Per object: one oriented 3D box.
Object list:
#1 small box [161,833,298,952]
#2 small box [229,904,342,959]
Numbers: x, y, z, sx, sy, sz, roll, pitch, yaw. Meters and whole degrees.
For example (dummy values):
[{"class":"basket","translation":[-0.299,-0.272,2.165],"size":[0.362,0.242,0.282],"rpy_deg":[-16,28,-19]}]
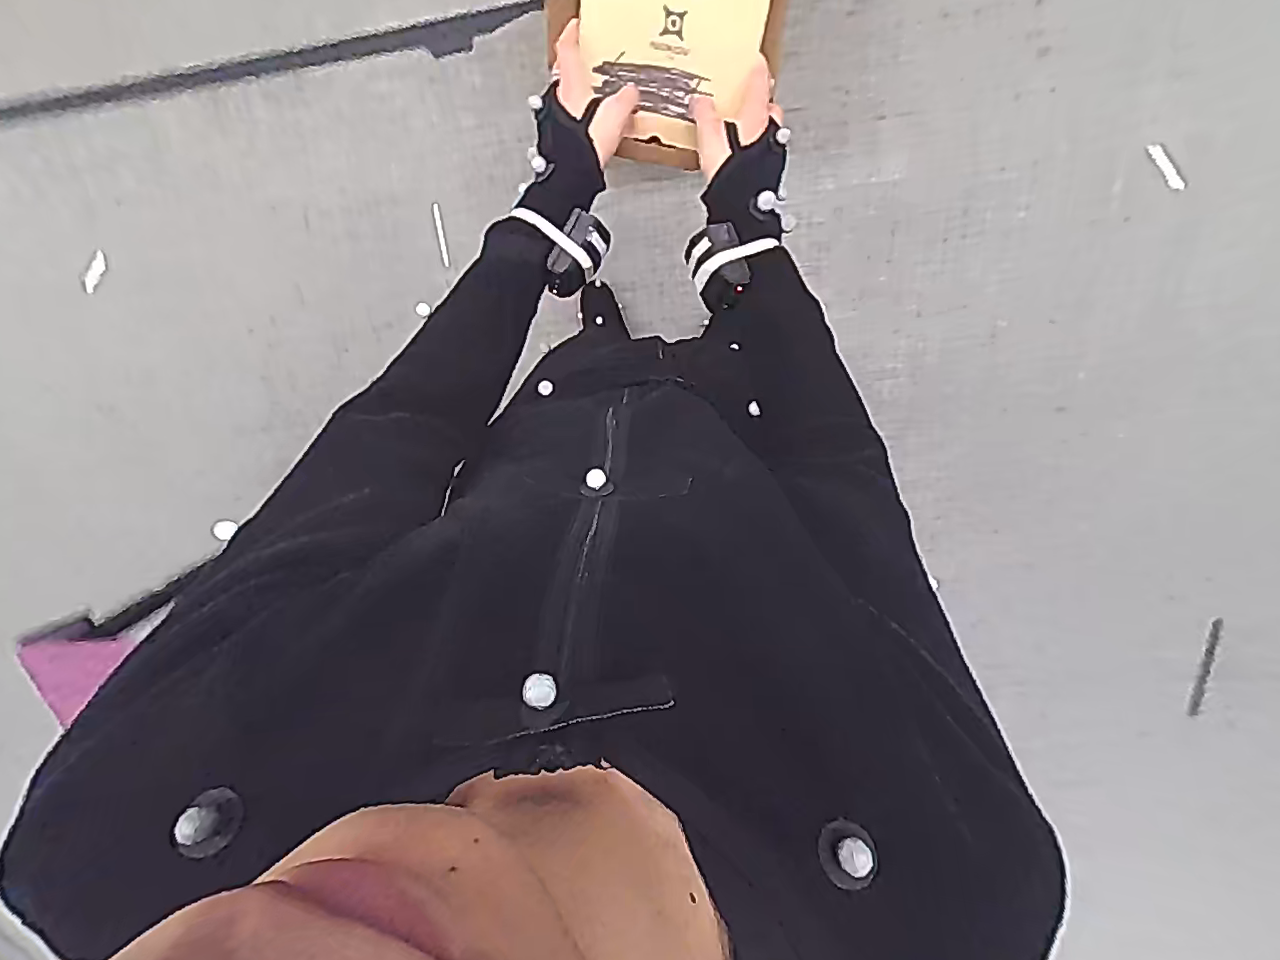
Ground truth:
[{"class":"small box","translation":[-0.953,0.968,1.280],"size":[0.179,0.176,0.168],"rpy_deg":[-6,110,8]},{"class":"small box","translation":[-0.907,1.219,1.370],"size":[0.179,0.176,0.168],"rpy_deg":[-13,110,10]}]
